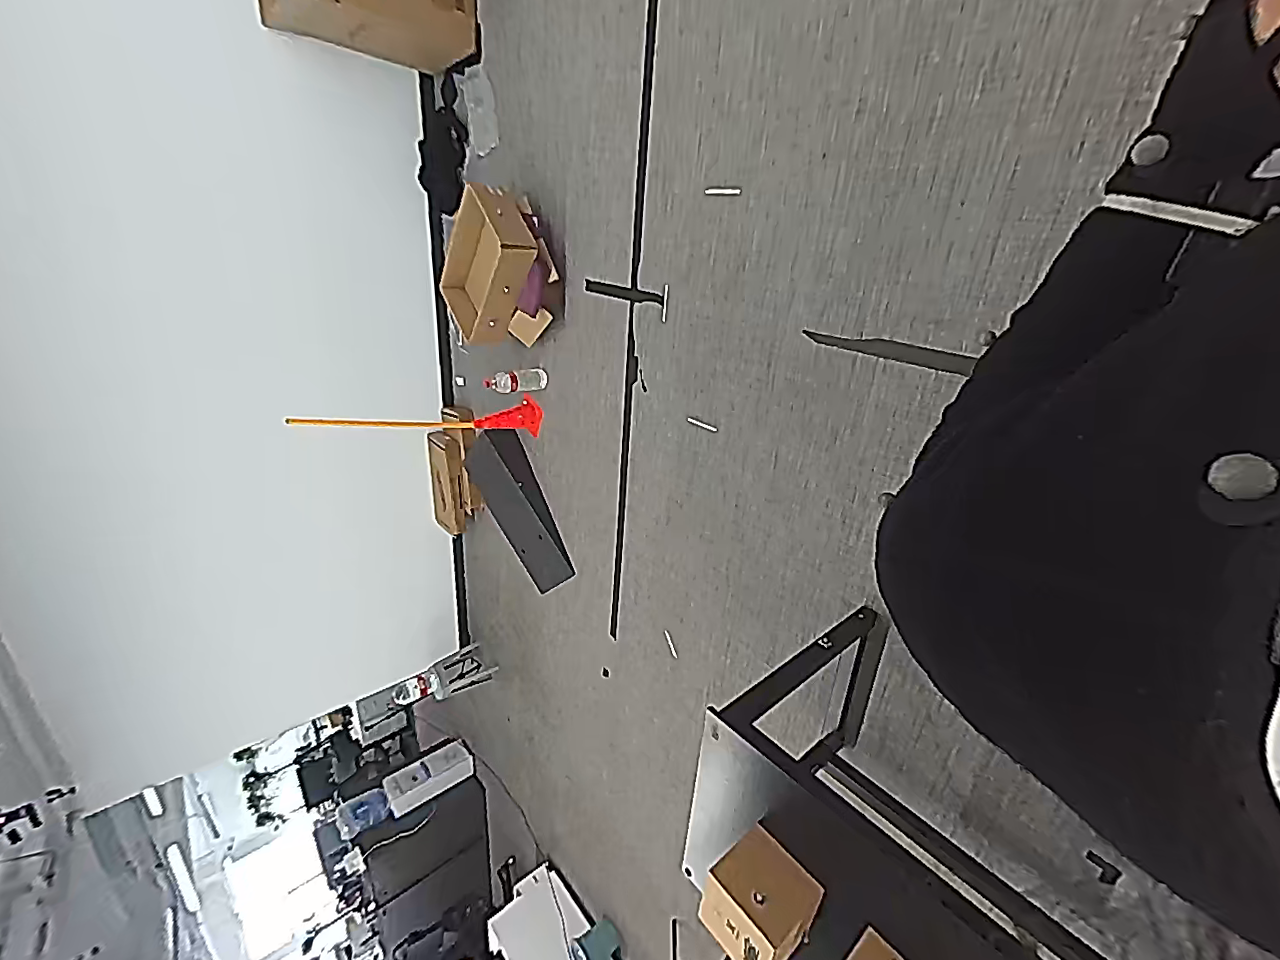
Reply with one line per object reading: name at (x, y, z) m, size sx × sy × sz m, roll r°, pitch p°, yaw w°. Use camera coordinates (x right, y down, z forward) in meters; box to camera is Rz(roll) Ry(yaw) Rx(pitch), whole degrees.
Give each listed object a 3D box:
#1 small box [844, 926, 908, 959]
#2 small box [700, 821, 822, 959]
small box at (0.425, 0.964, 0.966) m, size 0.168 × 0.176 × 0.179 m, roll 30°, pitch 124°, yaw 42°
small box at (0.255, 0.880, 1.145) m, size 0.179 × 0.176 × 0.168 m, roll 31°, pitch 125°, yaw 42°
